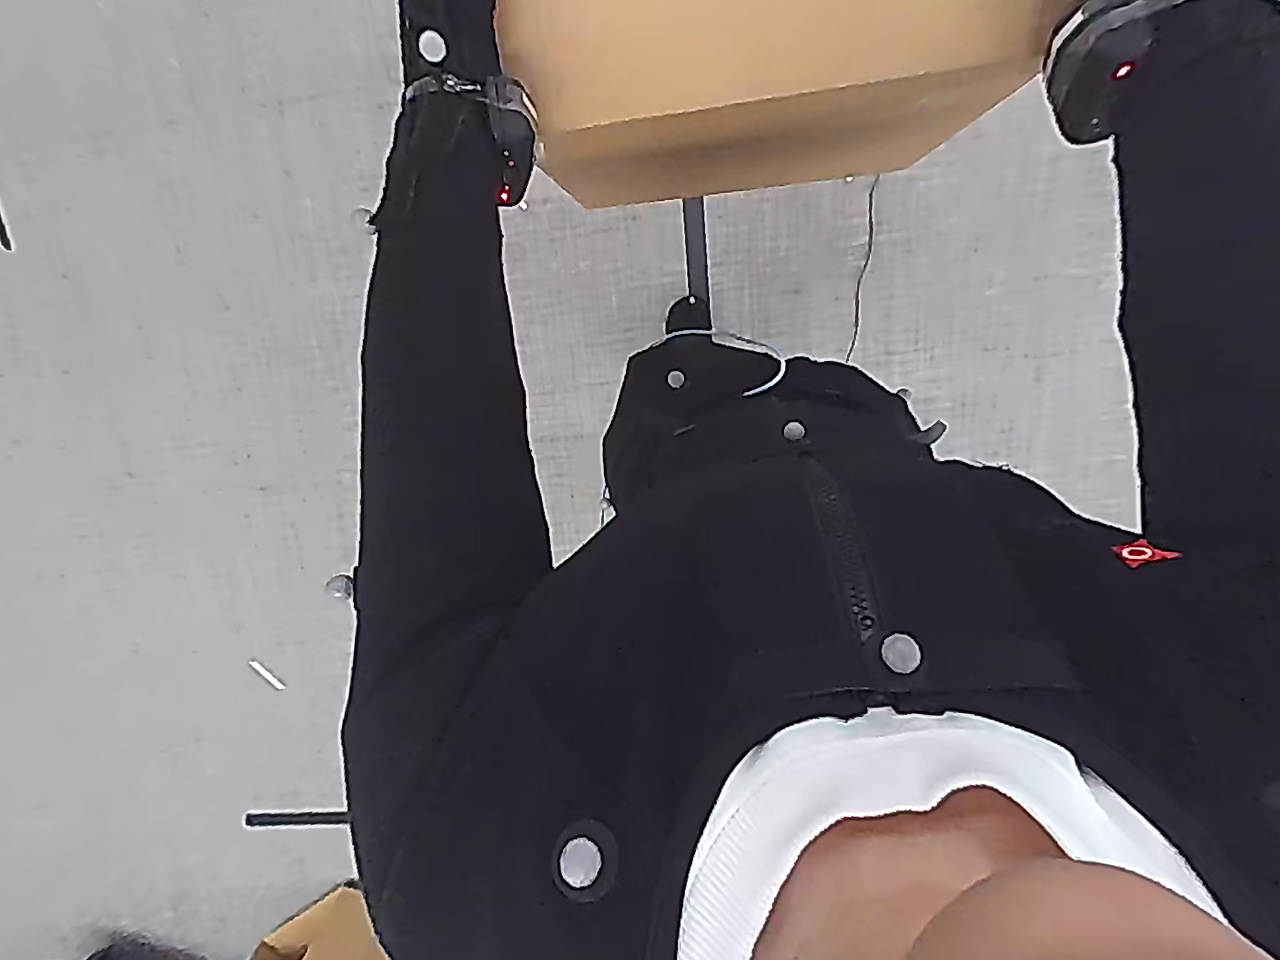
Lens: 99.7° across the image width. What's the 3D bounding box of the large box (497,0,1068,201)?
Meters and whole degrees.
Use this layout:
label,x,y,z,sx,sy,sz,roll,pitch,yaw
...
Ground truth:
label,x,y,z,sx,sy,sz,roll,pitch,yaw
large box,0.093,-0.481,0.497,0.408,0.320,0.320,-4,107,7
